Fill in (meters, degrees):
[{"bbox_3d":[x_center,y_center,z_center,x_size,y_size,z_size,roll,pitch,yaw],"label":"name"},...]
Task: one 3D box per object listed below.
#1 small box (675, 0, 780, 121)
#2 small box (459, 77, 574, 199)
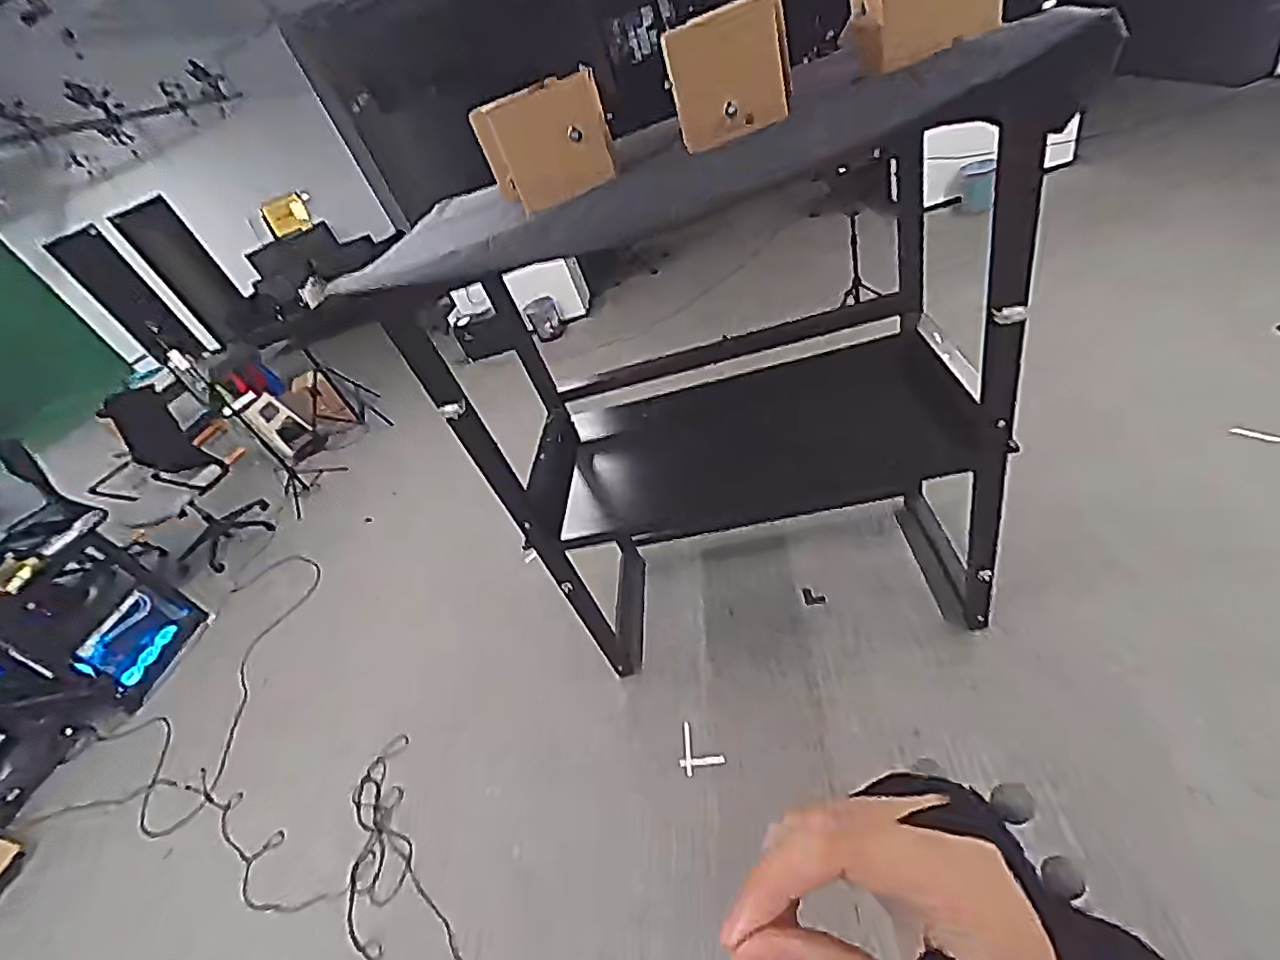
[{"bbox_3d":[0.170,-0.832,1.060,0.168,0.176,0.179,-13,38,14],"label":"small box"},{"bbox_3d":[-0.253,-0.727,1.160,0.168,0.176,0.179,-13,38,13],"label":"small box"}]
